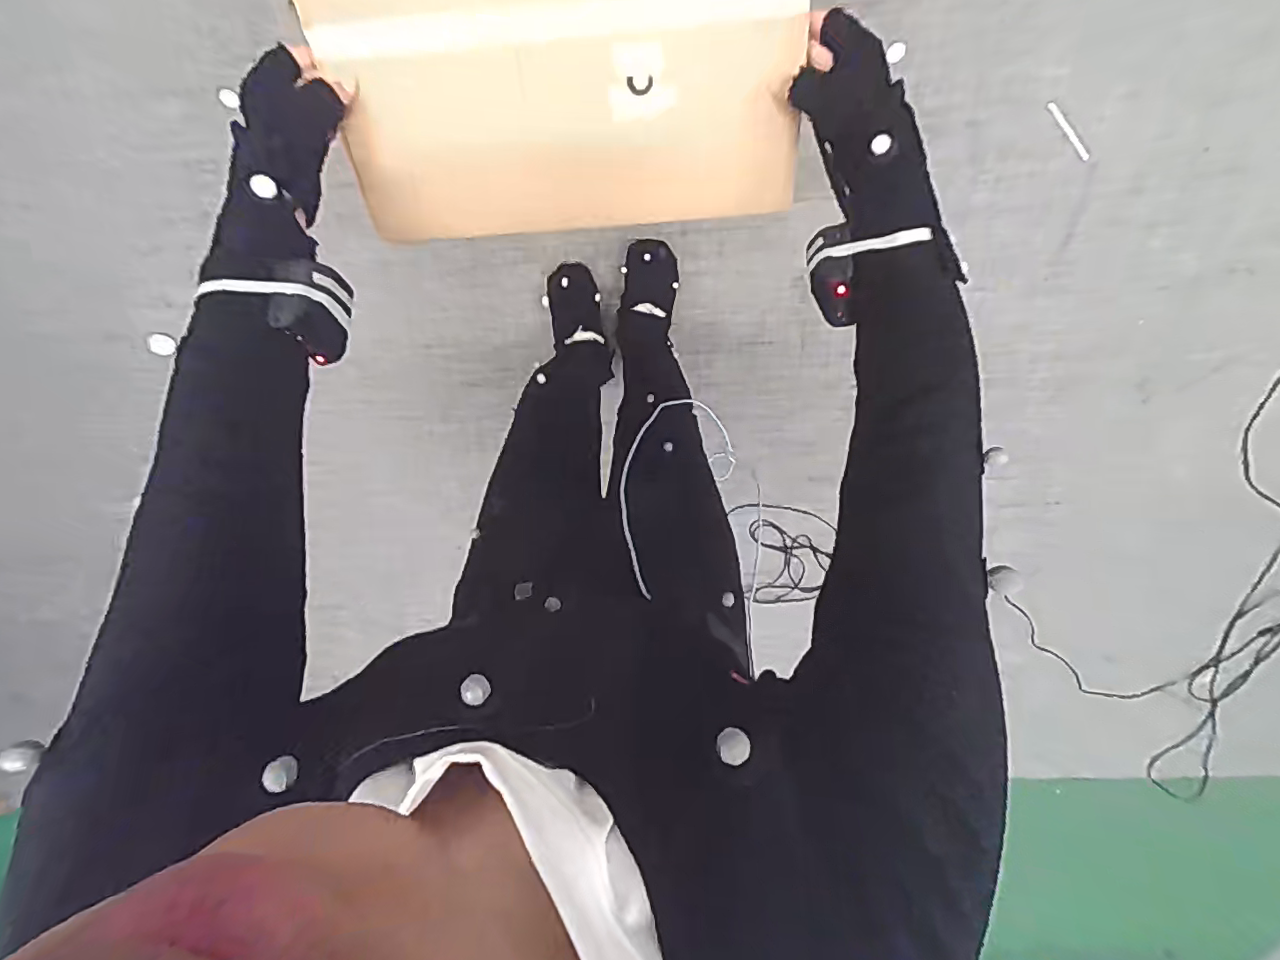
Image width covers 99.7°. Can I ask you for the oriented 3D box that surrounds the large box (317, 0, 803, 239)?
[{"bbox_3d":[-0.066,-0.469,0.567,0.408,0.320,0.320,-4,127,3],"label":"large box"}]
